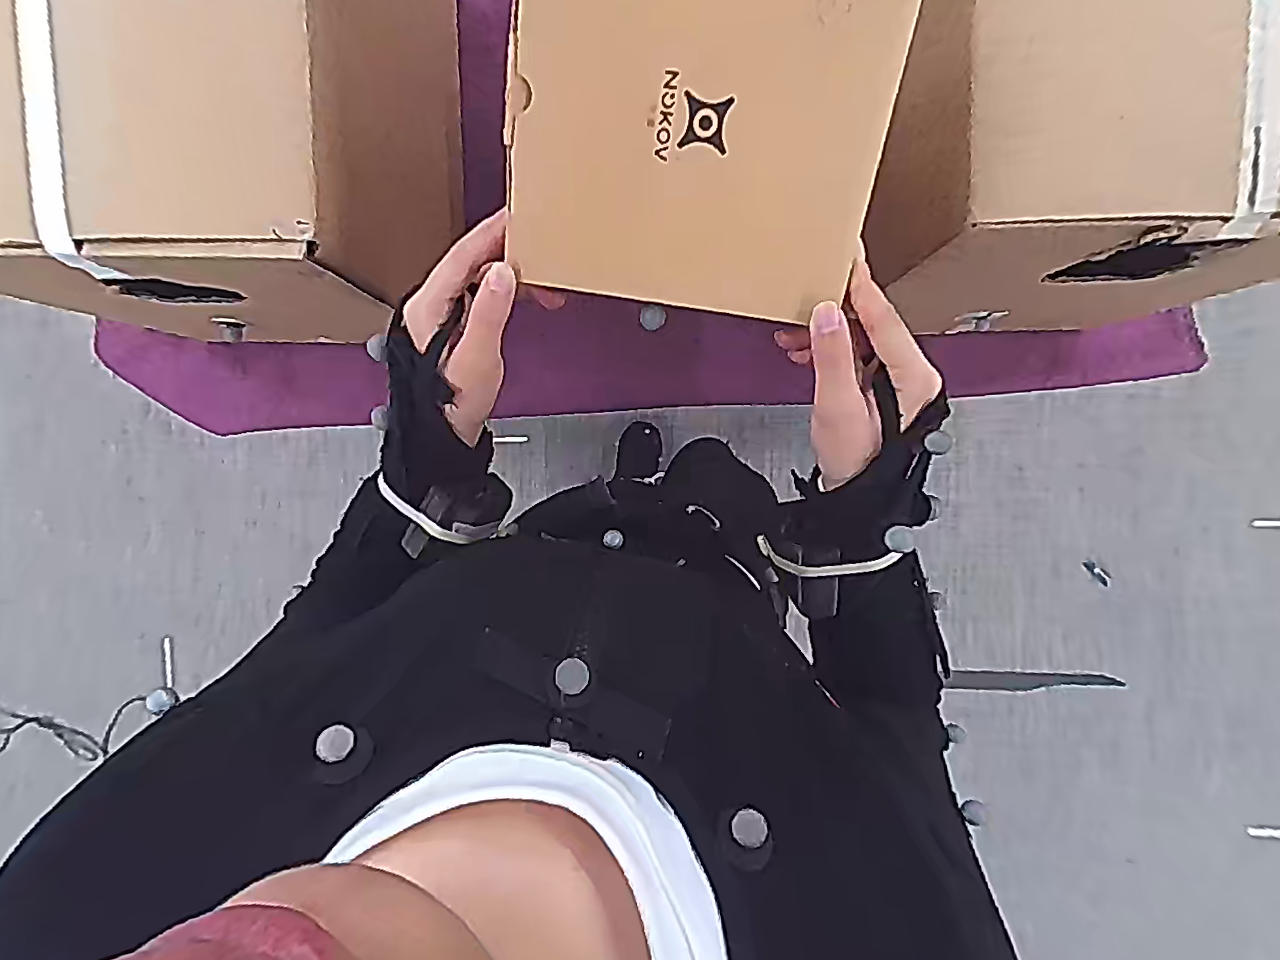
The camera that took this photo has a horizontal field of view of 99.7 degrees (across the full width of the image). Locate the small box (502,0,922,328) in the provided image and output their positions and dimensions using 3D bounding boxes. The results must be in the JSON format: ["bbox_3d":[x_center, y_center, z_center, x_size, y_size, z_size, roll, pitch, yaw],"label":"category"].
[{"bbox_3d":[0.031,-0.196,0.324,0.179,0.176,0.168,9,112,1],"label":"small box"}]

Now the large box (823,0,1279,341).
[{"bbox_3d":[0.346,-0.355,0.460,0.320,0.320,0.408,-1,92,1],"label":"large box"}]

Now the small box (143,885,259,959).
[{"bbox_3d":[-1.135,1.202,1.415,0.179,0.176,0.168,-1,94,2],"label":"small box"}]
